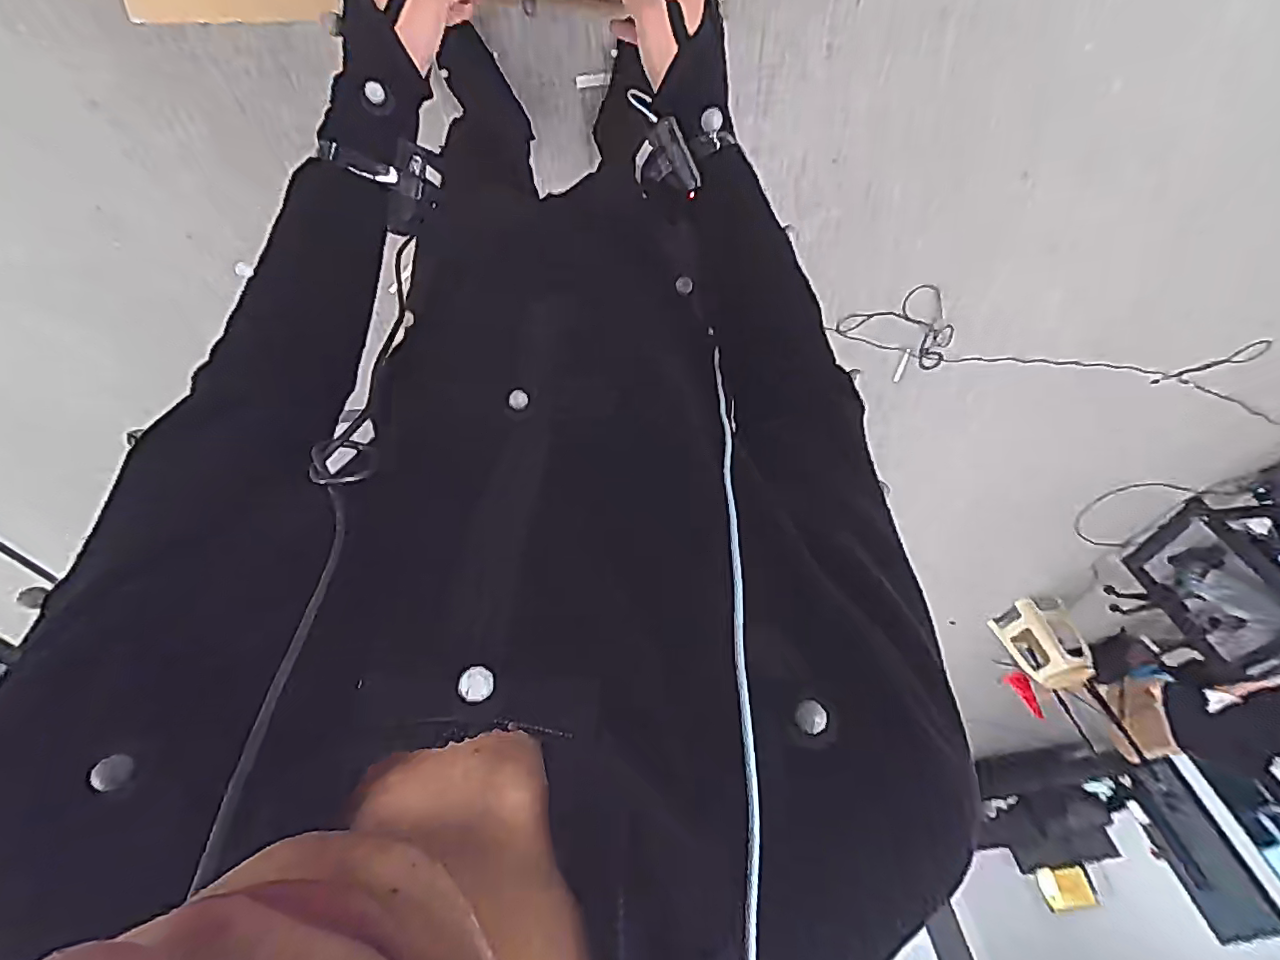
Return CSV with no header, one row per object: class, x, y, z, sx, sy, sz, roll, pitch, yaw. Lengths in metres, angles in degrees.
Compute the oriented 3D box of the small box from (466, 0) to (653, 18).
small box,-0.078,-0.488,0.432,0.179,0.176,0.168,-3,127,-10
